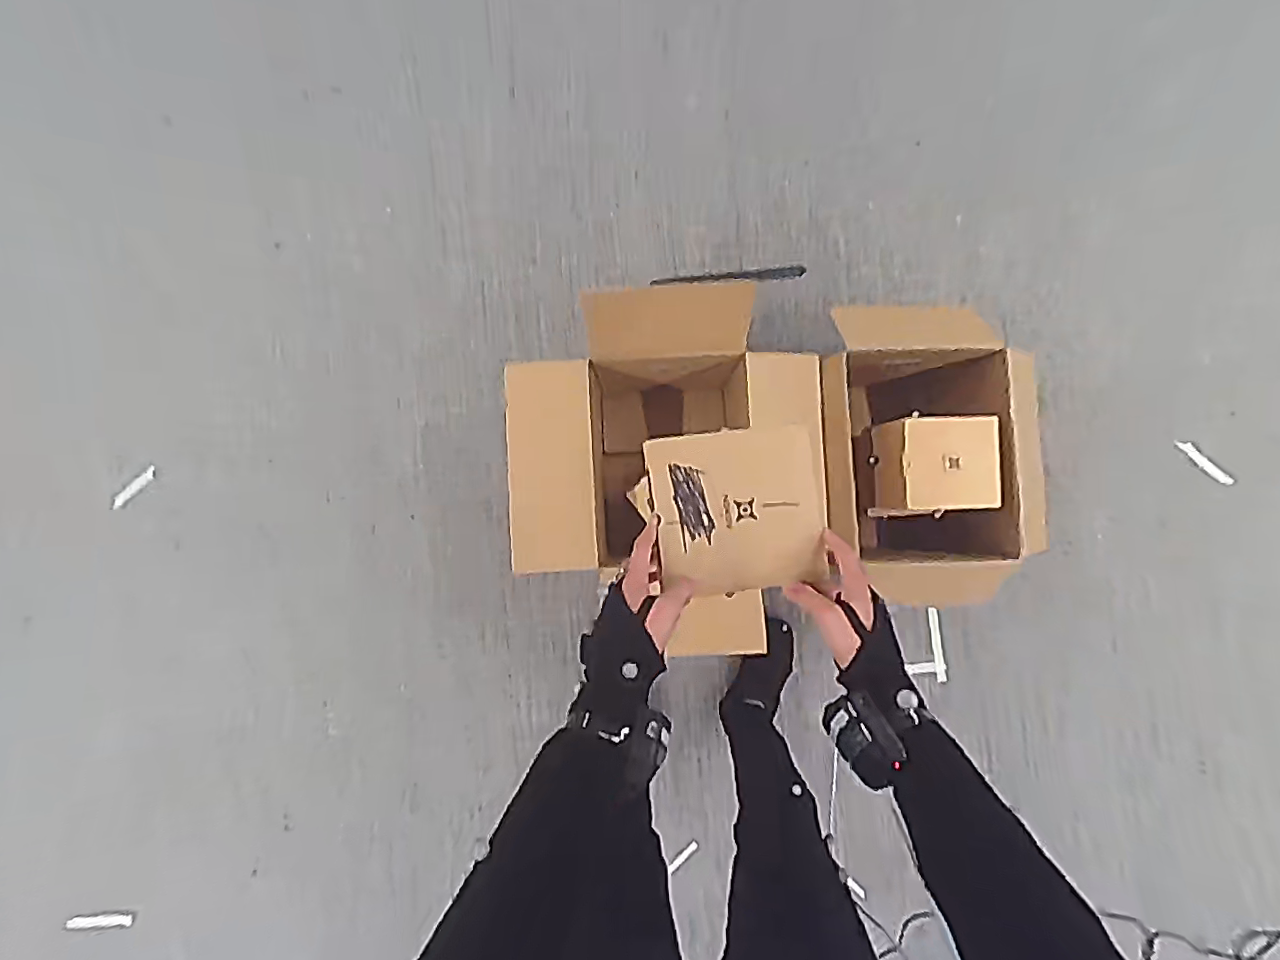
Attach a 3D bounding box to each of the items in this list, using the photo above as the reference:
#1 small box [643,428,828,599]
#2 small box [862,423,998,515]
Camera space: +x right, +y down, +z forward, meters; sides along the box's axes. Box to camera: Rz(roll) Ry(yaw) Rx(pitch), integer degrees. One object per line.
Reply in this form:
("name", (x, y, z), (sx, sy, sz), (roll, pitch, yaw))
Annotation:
("small box", (0.103, 0.041, 0.636), (0.179, 0.176, 0.168), (-7, 86, 3))
("small box", (0.554, -0.020, 1.049), (0.179, 0.176, 0.168), (-2, 89, 0))
